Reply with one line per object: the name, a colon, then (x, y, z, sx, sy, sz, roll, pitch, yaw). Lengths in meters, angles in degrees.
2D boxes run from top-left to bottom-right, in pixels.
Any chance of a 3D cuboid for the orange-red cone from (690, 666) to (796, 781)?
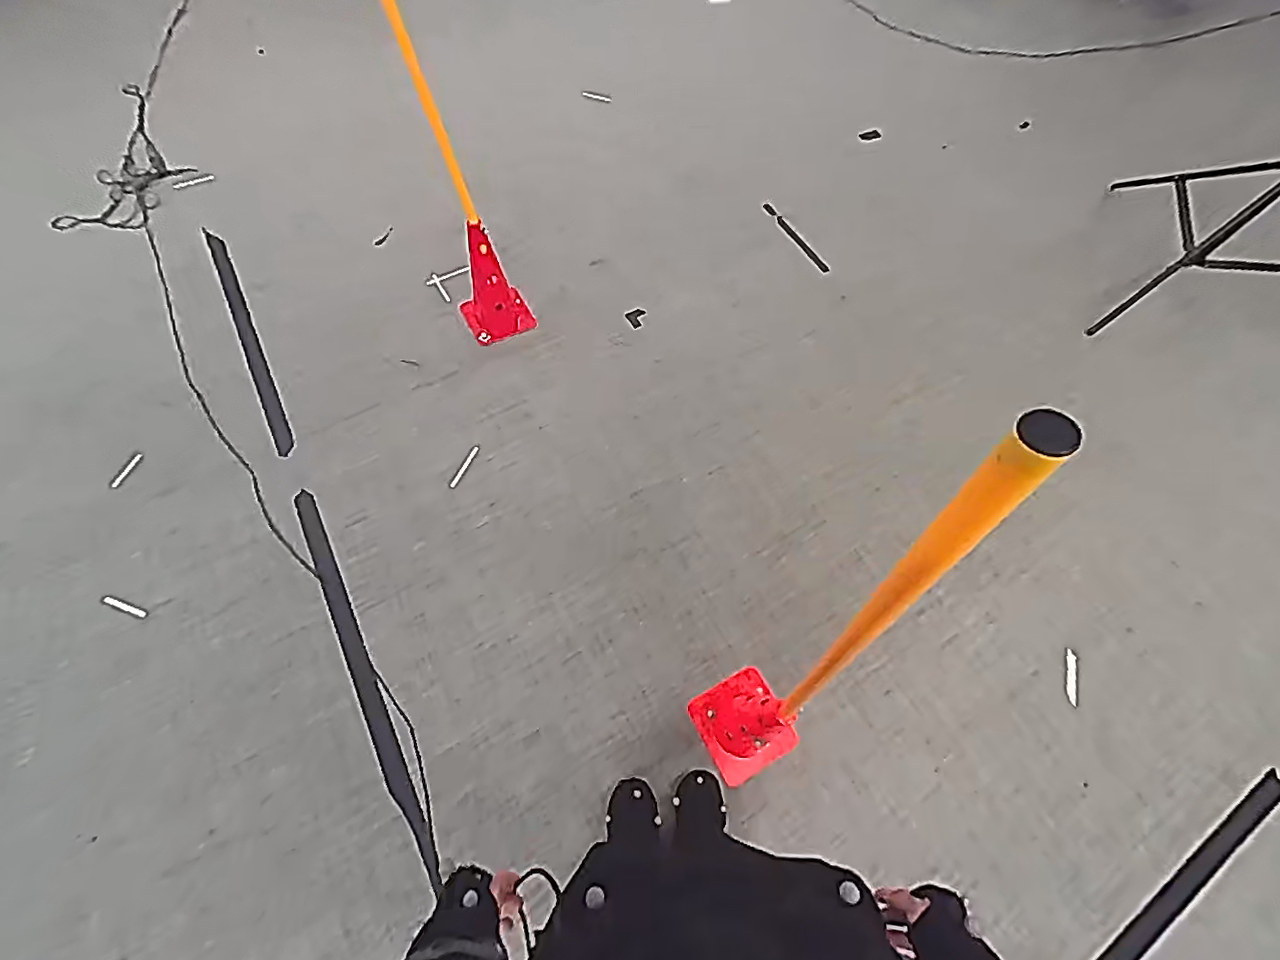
orange-red cone: (0.244, 0.481, 1.094, 0.198, 0.360, 0.199, -24, 68, -14)
